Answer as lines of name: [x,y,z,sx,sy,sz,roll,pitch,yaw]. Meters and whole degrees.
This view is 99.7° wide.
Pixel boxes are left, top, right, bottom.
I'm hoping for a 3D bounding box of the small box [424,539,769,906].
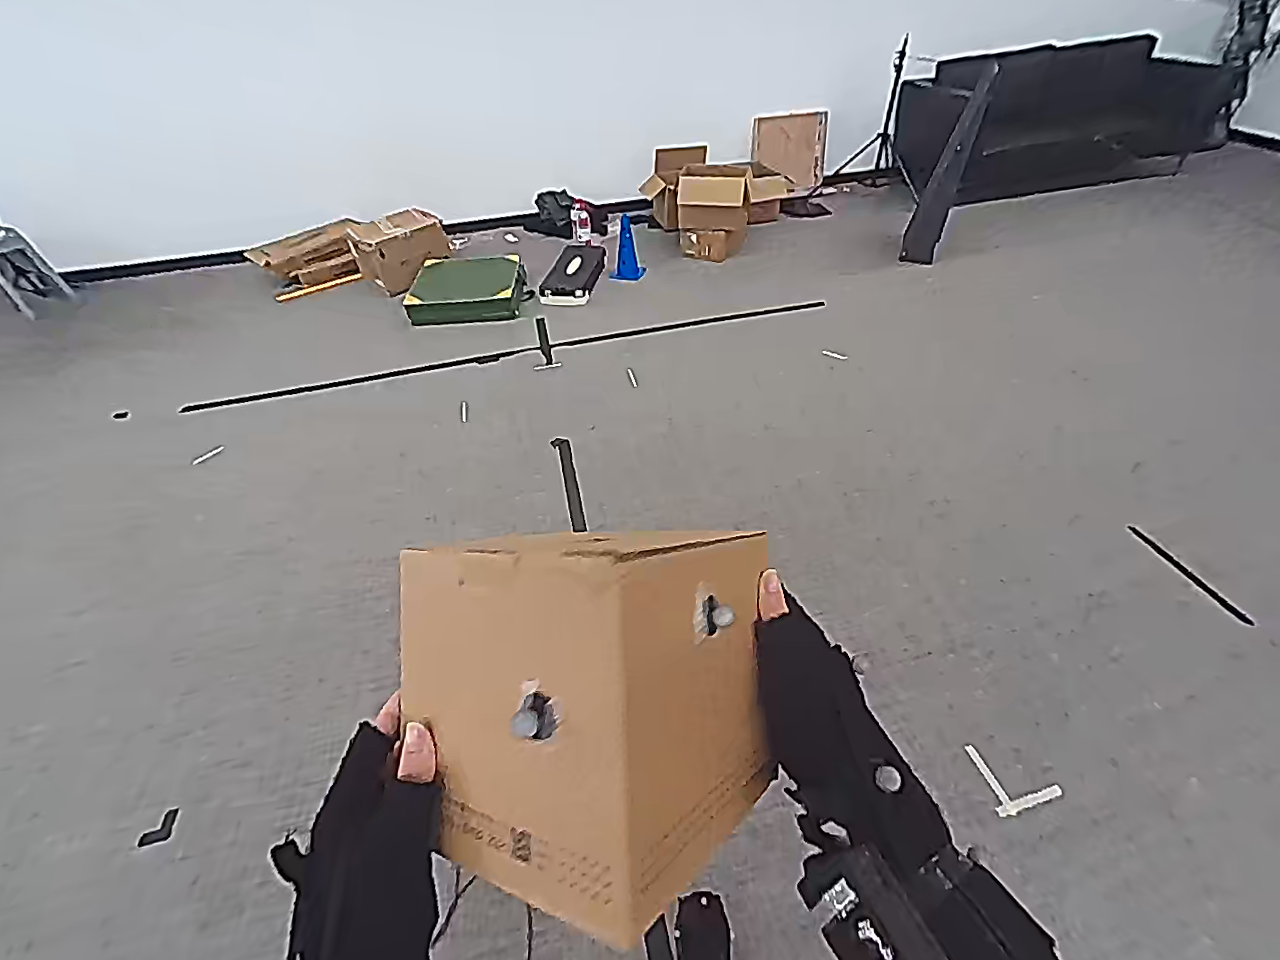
small box: [-0.019,0.130,0.362,0.168,0.176,0.179,-5,-6,34]
